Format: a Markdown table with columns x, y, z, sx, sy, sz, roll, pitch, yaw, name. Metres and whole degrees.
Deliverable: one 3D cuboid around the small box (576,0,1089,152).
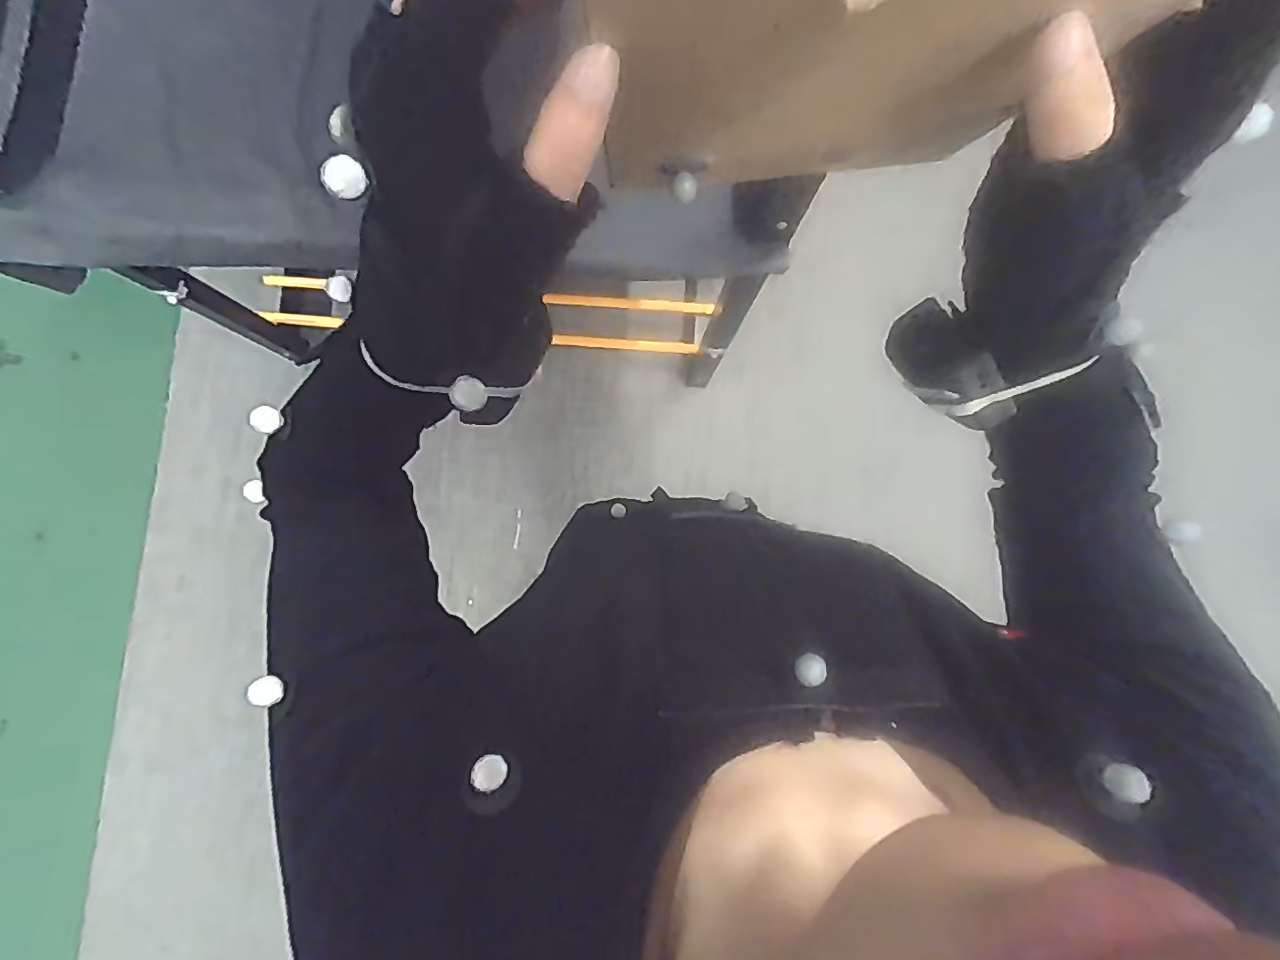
| x | y | z | sx | sy | sz | roll | pitch | yaw | name |
| --- | --- | --- | --- | --- | --- | --- | --- | --- | --- |
| 0.057 | -0.221 | 0.160 | 0.168 | 0.176 | 0.179 | -6 | 101 | 0 | small box |
